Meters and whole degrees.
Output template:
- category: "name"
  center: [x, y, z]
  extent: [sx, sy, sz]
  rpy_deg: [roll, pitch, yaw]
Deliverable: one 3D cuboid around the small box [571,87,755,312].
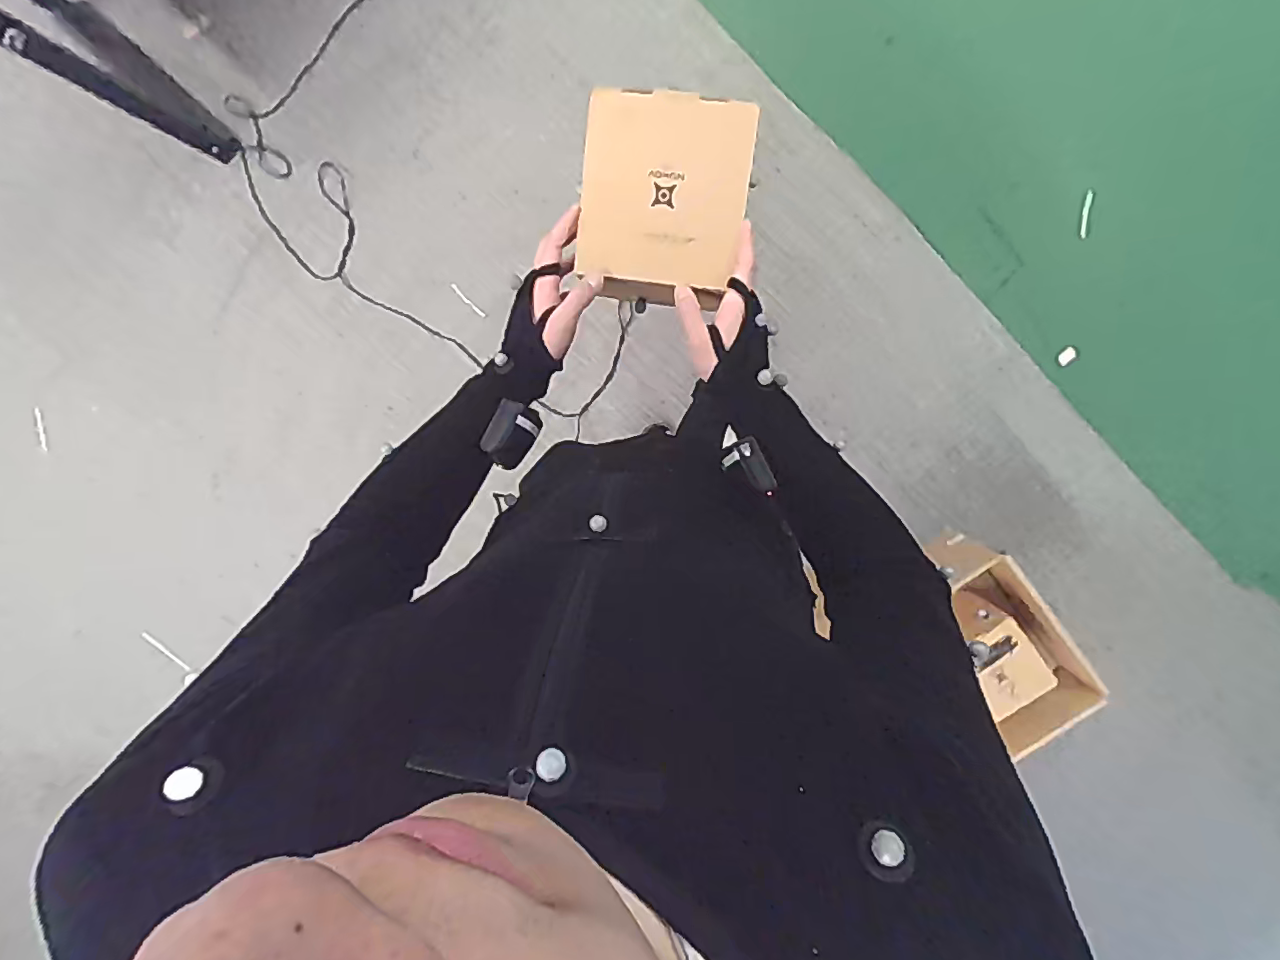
- category: "small box"
  center: [0.024, -0.298, 0.611]
  extent: [0.168, 0.176, 0.179]
  rpy_deg: [7, 101, 2]
